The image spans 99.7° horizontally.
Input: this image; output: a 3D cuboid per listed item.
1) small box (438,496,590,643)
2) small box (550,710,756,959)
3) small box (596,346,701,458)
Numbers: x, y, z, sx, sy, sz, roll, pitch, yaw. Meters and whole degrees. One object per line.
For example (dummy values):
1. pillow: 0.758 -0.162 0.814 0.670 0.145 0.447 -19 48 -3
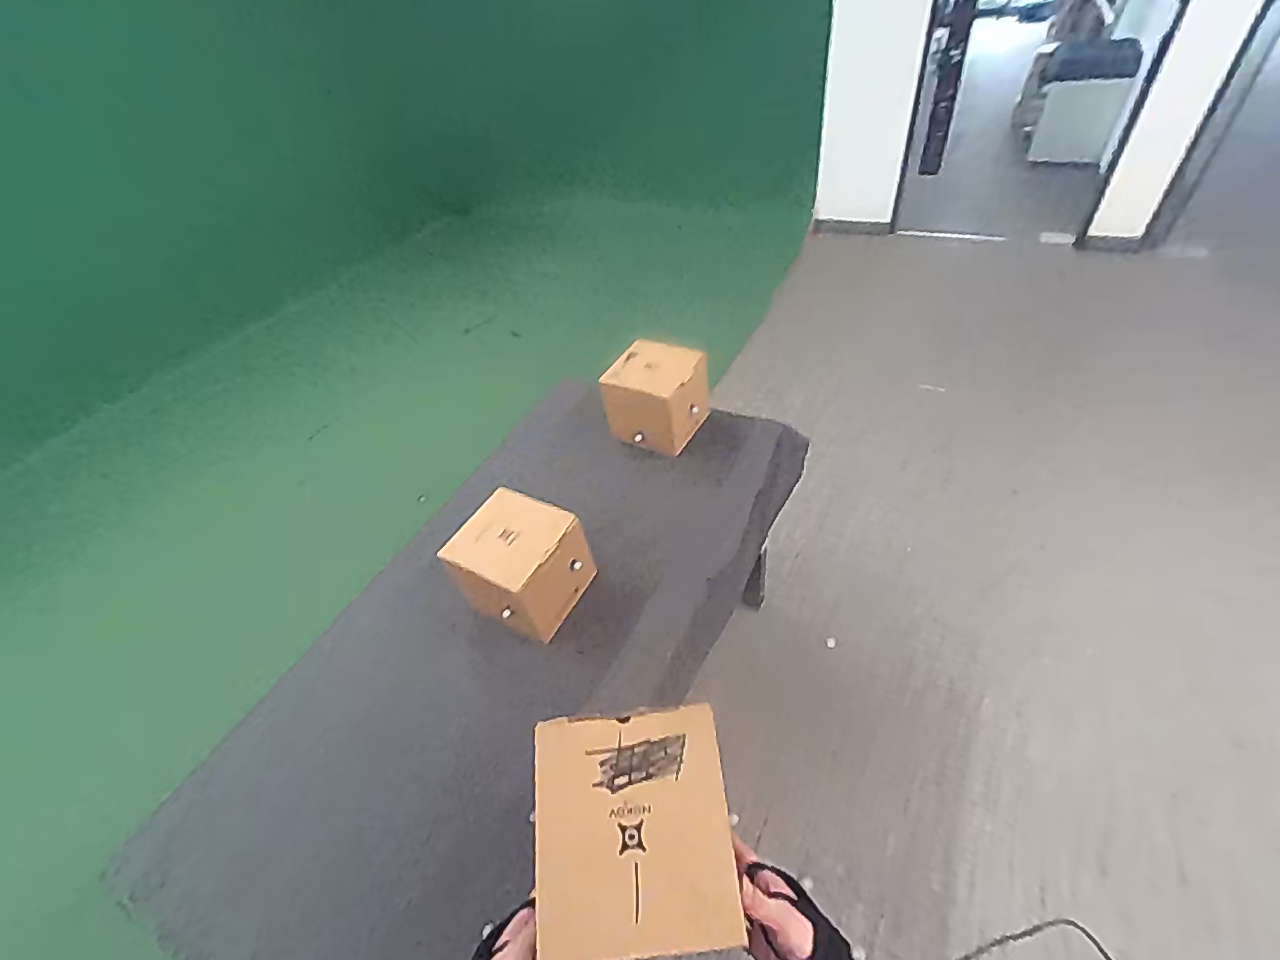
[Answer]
1. small box: -0.208 0.160 0.948 0.179 0.176 0.168 16 50 25
2. small box: 0.006 0.338 0.533 0.168 0.176 0.179 -6 60 -1
3. small box: 0.029 -0.173 1.218 0.179 0.176 0.168 19 54 25
